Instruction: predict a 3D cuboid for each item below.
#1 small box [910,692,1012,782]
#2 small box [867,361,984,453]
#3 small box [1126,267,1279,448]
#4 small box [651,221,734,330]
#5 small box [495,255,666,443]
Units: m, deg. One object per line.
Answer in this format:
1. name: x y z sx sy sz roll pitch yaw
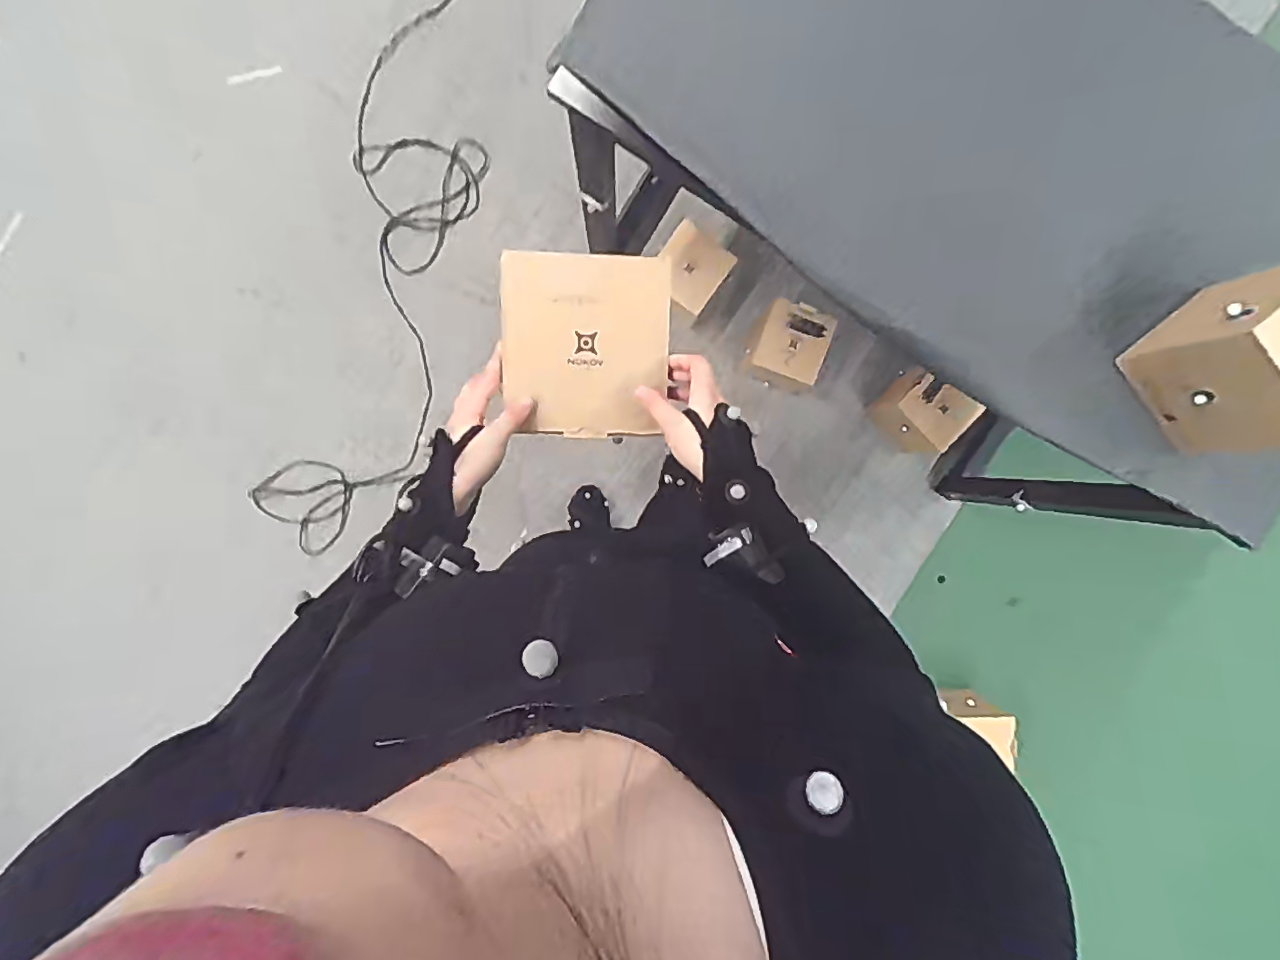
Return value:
1. small box: 0.861 0.686 1.459 0.179 0.176 0.168 0 92 -3
2. small box: 0.738 -0.183 1.421 0.179 0.176 0.168 45 90 -5
3. small box: 0.785 -0.153 0.691 0.179 0.176 0.168 -38 93 -3
4. small box: 0.114 -0.512 1.386 0.168 0.176 0.179 36 90 -3
5. small box: -0.064 -0.139 0.608 0.168 0.176 0.179 1 99 -5
